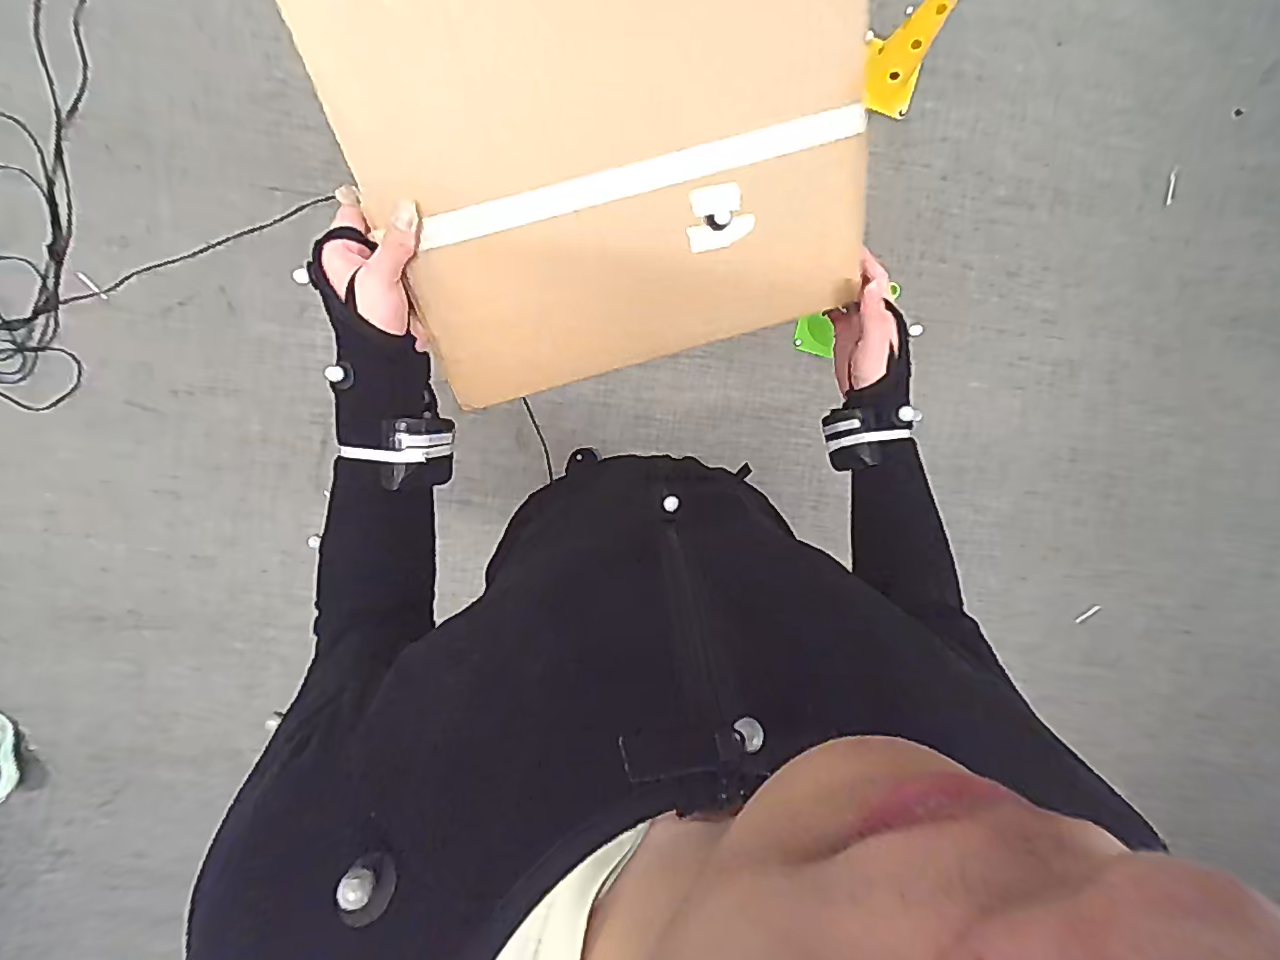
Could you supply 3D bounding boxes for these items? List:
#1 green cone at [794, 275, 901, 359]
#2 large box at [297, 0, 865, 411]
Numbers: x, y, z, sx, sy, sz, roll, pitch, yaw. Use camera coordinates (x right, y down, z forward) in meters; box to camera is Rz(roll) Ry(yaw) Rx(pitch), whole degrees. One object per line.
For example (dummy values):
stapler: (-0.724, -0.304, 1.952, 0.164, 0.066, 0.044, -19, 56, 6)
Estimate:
green cone: (0.602, -0.479, 1.491, 0.200, 0.368, 0.202, 12, 91, -6)
large box: (-0.037, -0.320, 0.564, 0.408, 0.320, 0.320, -17, 125, -4)
